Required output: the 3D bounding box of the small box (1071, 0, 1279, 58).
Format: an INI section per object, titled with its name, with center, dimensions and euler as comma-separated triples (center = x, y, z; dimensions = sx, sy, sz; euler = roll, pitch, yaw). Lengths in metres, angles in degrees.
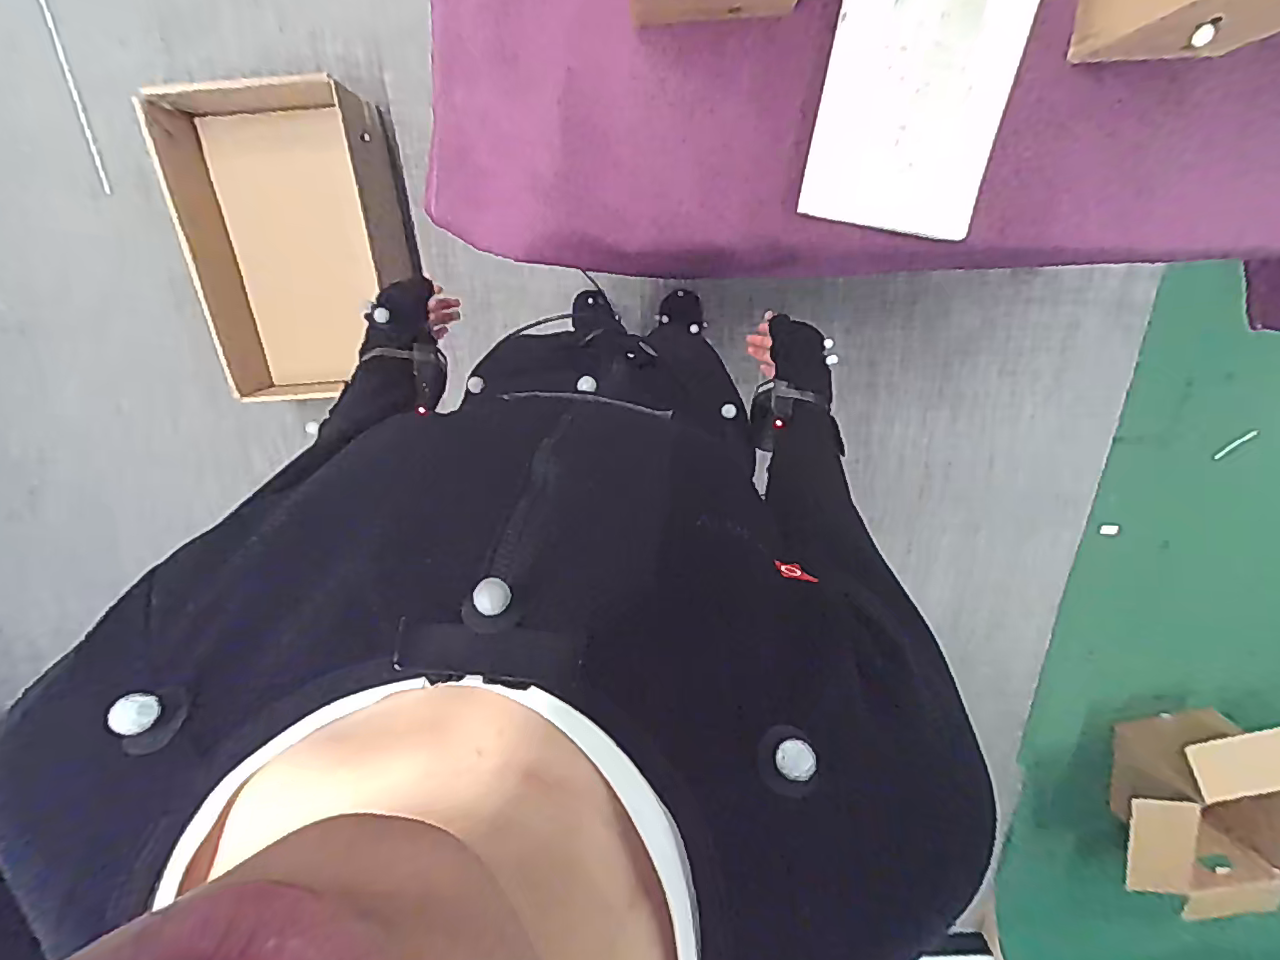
[small box]
center = 0.527, -0.497, 0.469
dimensions = 0.168, 0.176, 0.179
euler = -3, 110, 1
